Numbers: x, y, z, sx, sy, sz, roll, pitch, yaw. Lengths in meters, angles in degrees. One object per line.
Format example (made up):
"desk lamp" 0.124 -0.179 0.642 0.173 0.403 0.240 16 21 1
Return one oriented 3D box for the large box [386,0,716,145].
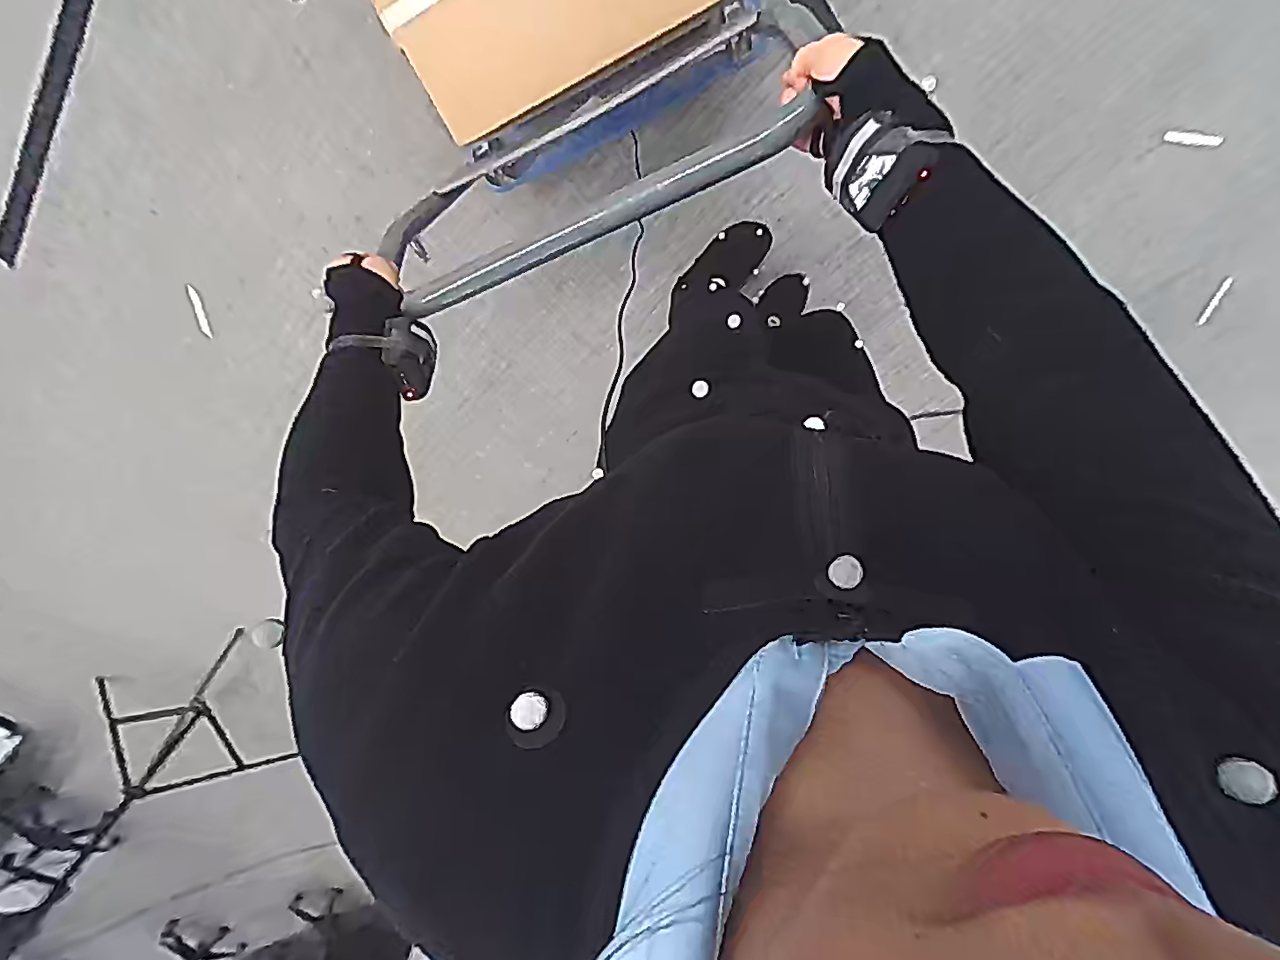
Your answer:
"large box" -0.130 -0.745 0.767 0.408 0.320 0.320 -19 125 16
